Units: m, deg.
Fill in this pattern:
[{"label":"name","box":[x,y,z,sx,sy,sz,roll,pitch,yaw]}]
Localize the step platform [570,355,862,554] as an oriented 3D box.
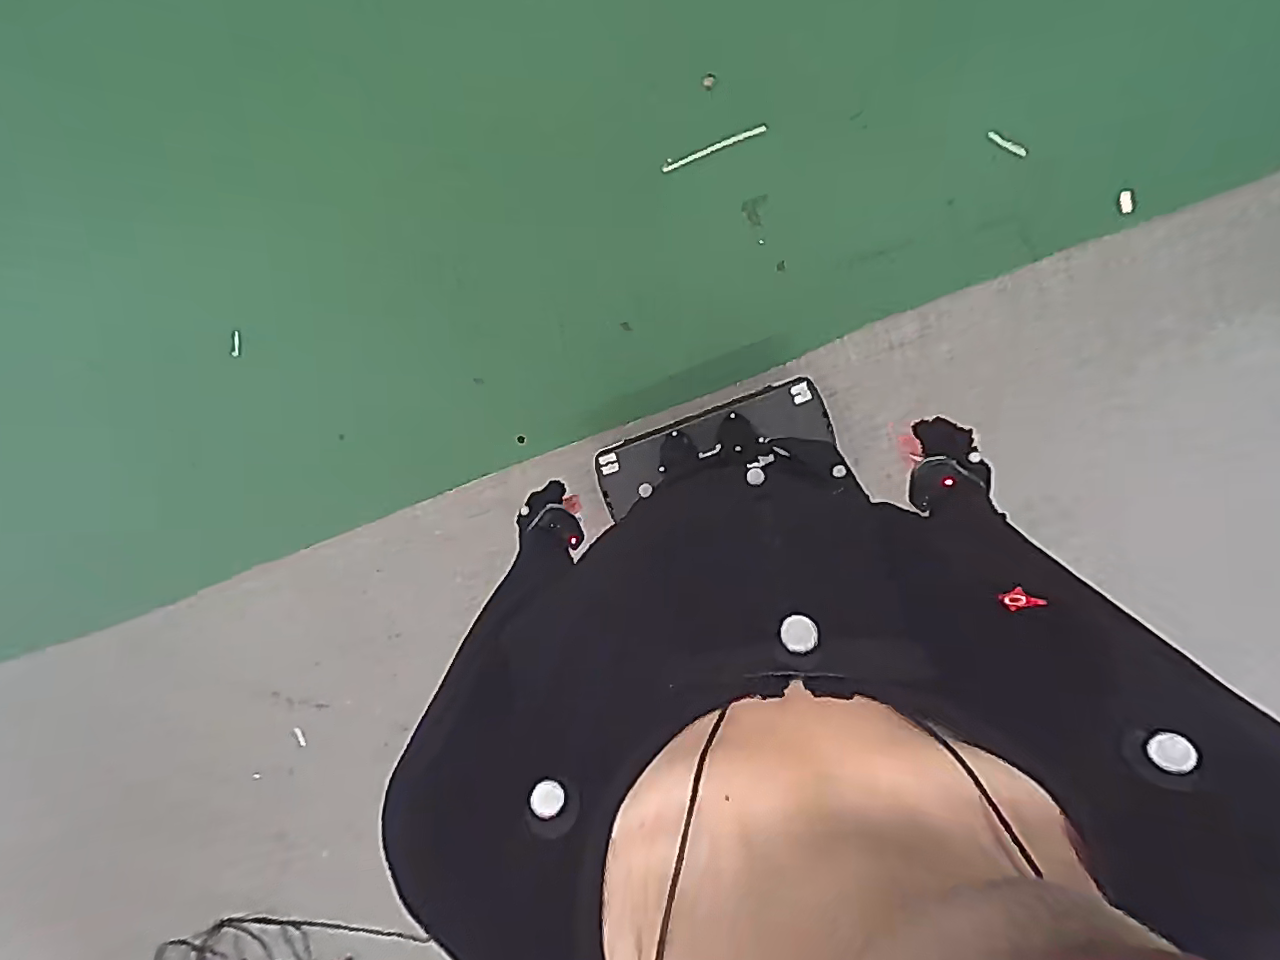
[{"label":"step platform","box":[0.180,-0.066,1.372,0.684,0.204,0.286,-21,96,7]}]
